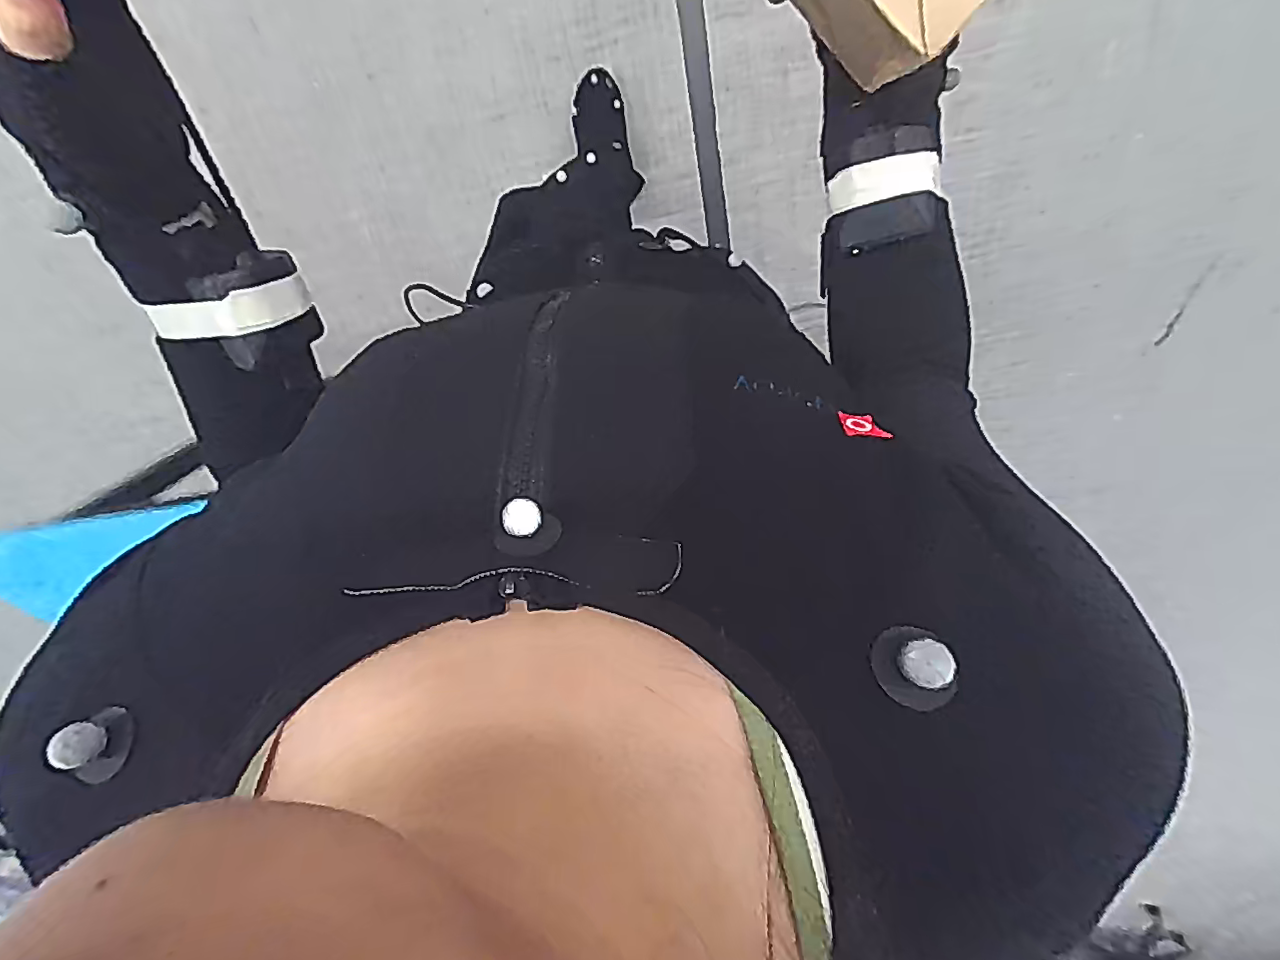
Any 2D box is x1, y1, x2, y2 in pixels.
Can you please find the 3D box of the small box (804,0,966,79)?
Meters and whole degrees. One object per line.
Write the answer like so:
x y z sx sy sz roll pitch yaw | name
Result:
0.111 -0.300 0.202 0.179 0.176 0.168 42 122 -12 | small box
